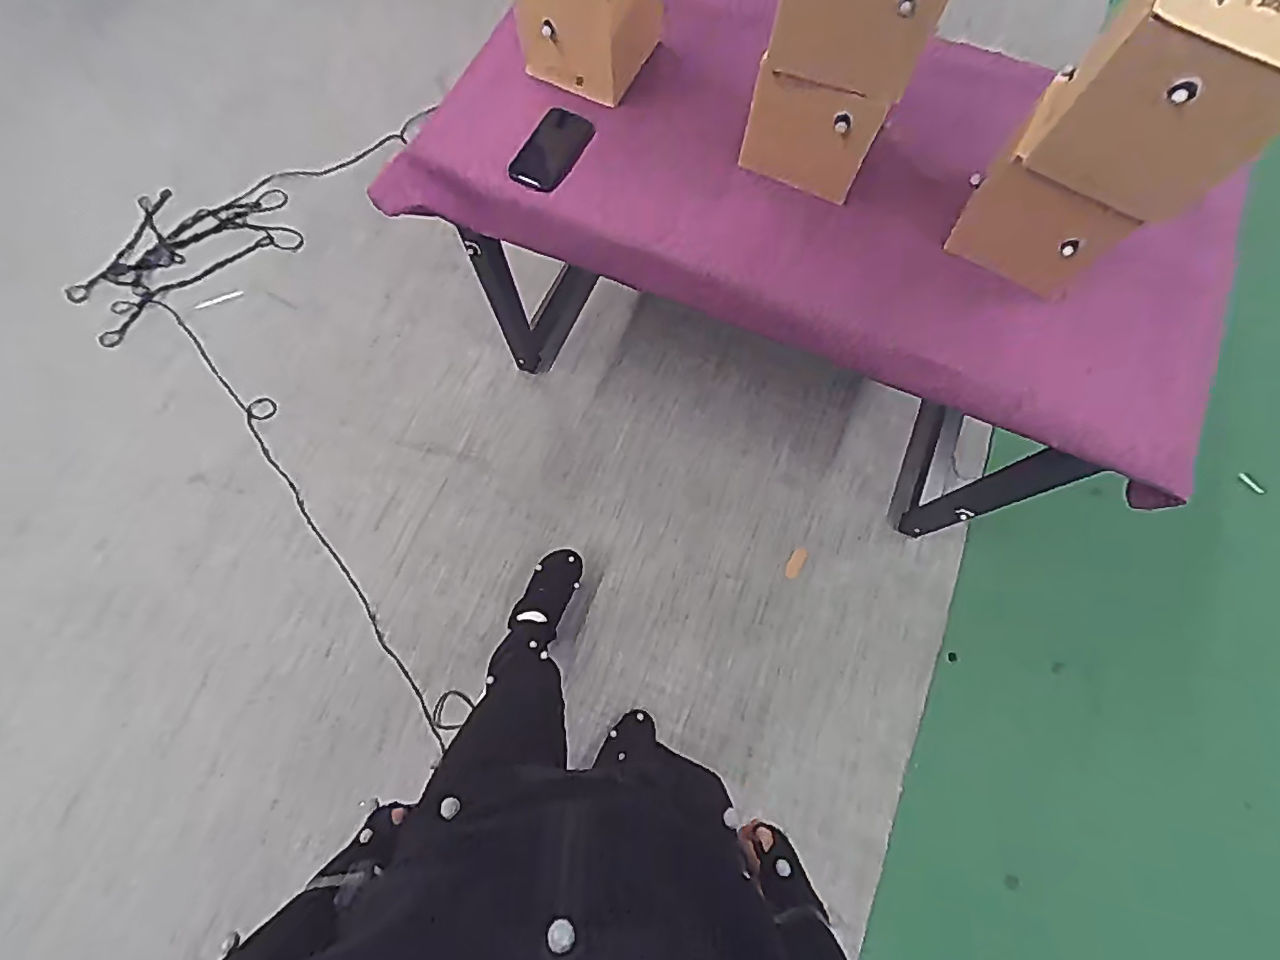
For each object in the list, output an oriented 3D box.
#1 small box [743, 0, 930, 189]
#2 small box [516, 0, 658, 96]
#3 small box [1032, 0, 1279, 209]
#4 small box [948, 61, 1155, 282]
[{"bbox_3d":[0.268,-0.557,0.773,0.179,0.176,0.168,25,76,7],"label":"small box"},{"bbox_3d":[-0.076,-0.738,0.822,0.168,0.176,0.179,25,76,6],"label":"small box"},{"bbox_3d":[0.571,-0.430,0.572,0.179,0.176,0.168,31,76,7],"label":"small box"},{"bbox_3d":[0.569,-0.403,0.734,0.179,0.176,0.168,31,76,9],"label":"small box"}]
